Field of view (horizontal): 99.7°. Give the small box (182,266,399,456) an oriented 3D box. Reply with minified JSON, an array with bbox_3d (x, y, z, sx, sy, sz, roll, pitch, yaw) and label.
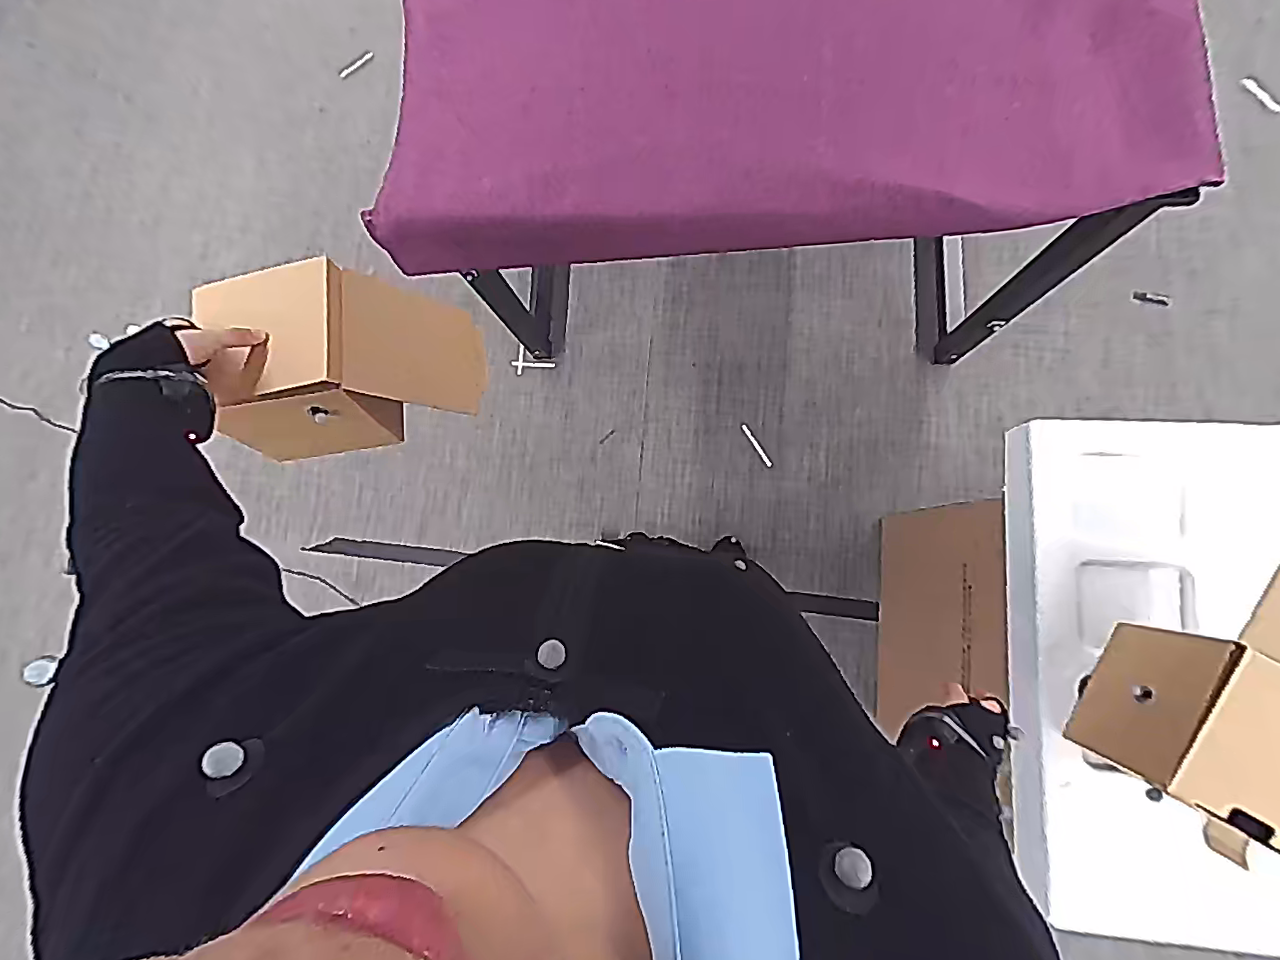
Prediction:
[{"bbox_3d":[-0.425,-0.143,0.692,0.179,0.176,0.168,-9,72,-2],"label":"small box"}]
